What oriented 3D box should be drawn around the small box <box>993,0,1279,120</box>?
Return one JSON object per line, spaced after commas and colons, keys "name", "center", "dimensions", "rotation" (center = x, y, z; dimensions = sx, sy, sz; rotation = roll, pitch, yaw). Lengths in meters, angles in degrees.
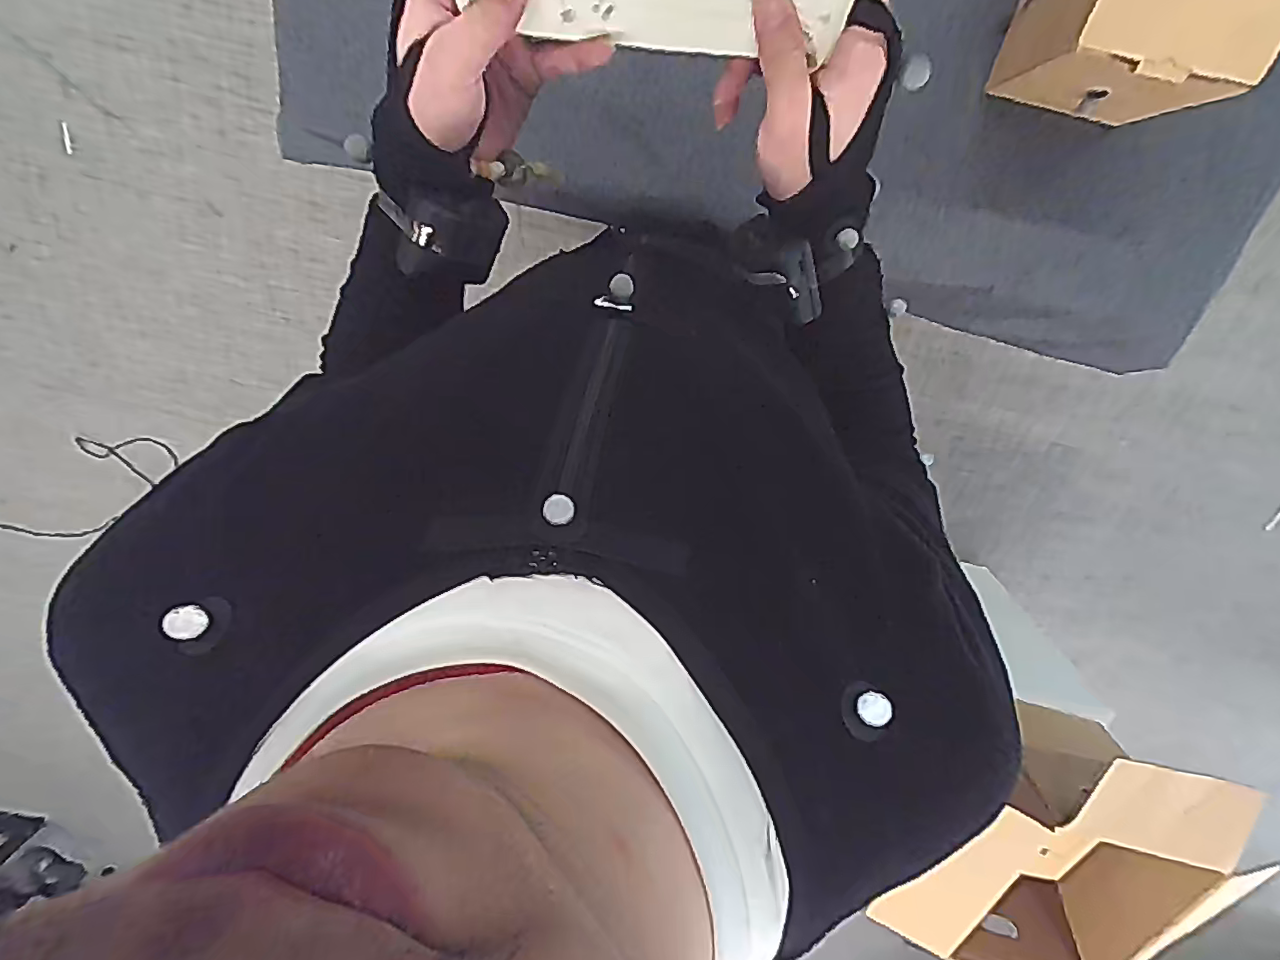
{"name": "small box", "center": [0.485, -0.472, 0.521], "dimensions": [0.168, 0.176, 0.179], "rotation": [13, 116, -1]}
